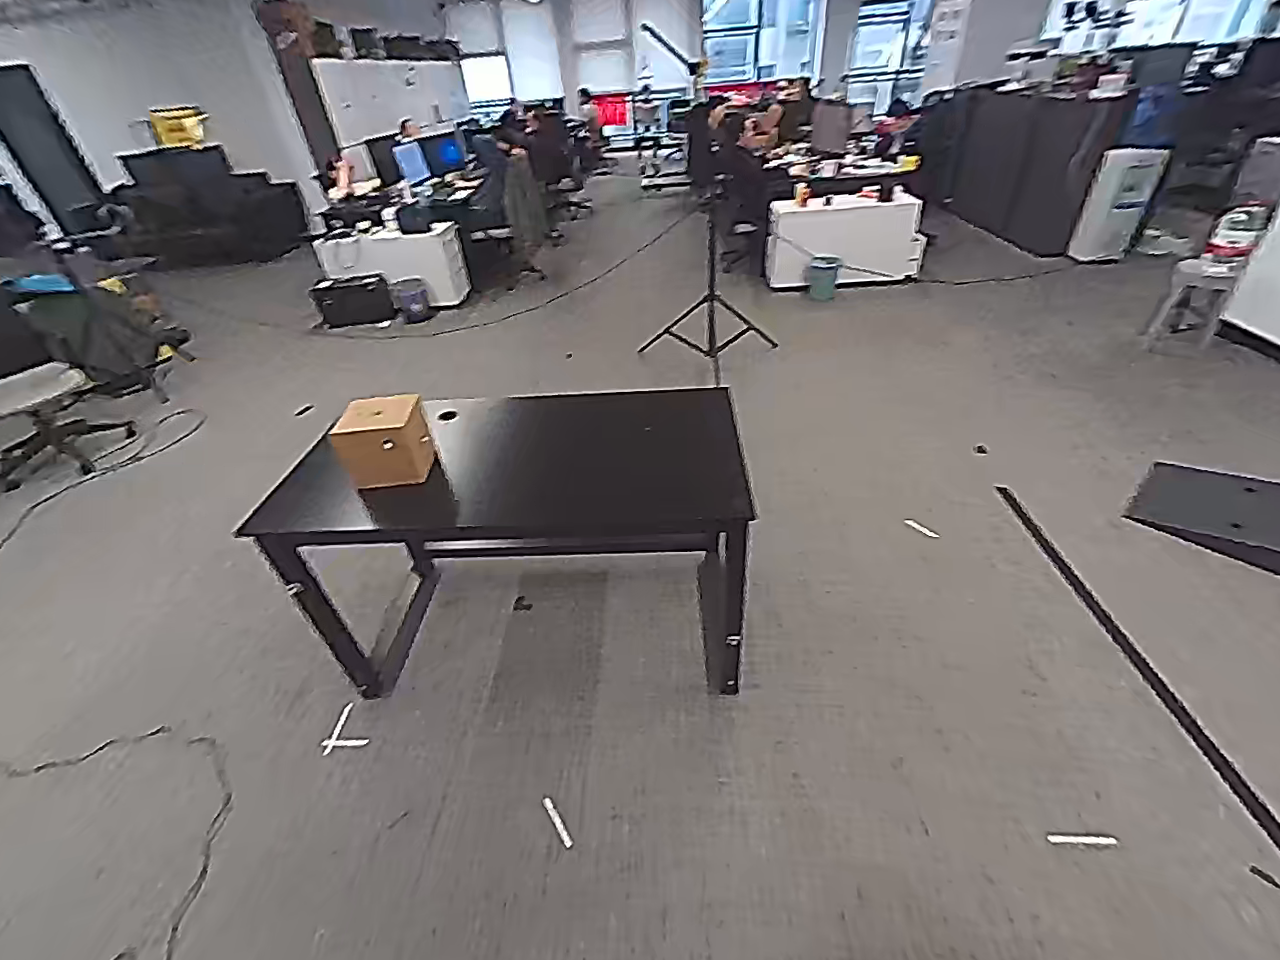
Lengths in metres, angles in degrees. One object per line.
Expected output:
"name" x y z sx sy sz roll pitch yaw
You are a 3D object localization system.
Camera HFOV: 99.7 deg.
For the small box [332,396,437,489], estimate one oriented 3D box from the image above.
"small box" -0.641 -0.095 1.385 0.179 0.176 0.168 -7 37 -2
